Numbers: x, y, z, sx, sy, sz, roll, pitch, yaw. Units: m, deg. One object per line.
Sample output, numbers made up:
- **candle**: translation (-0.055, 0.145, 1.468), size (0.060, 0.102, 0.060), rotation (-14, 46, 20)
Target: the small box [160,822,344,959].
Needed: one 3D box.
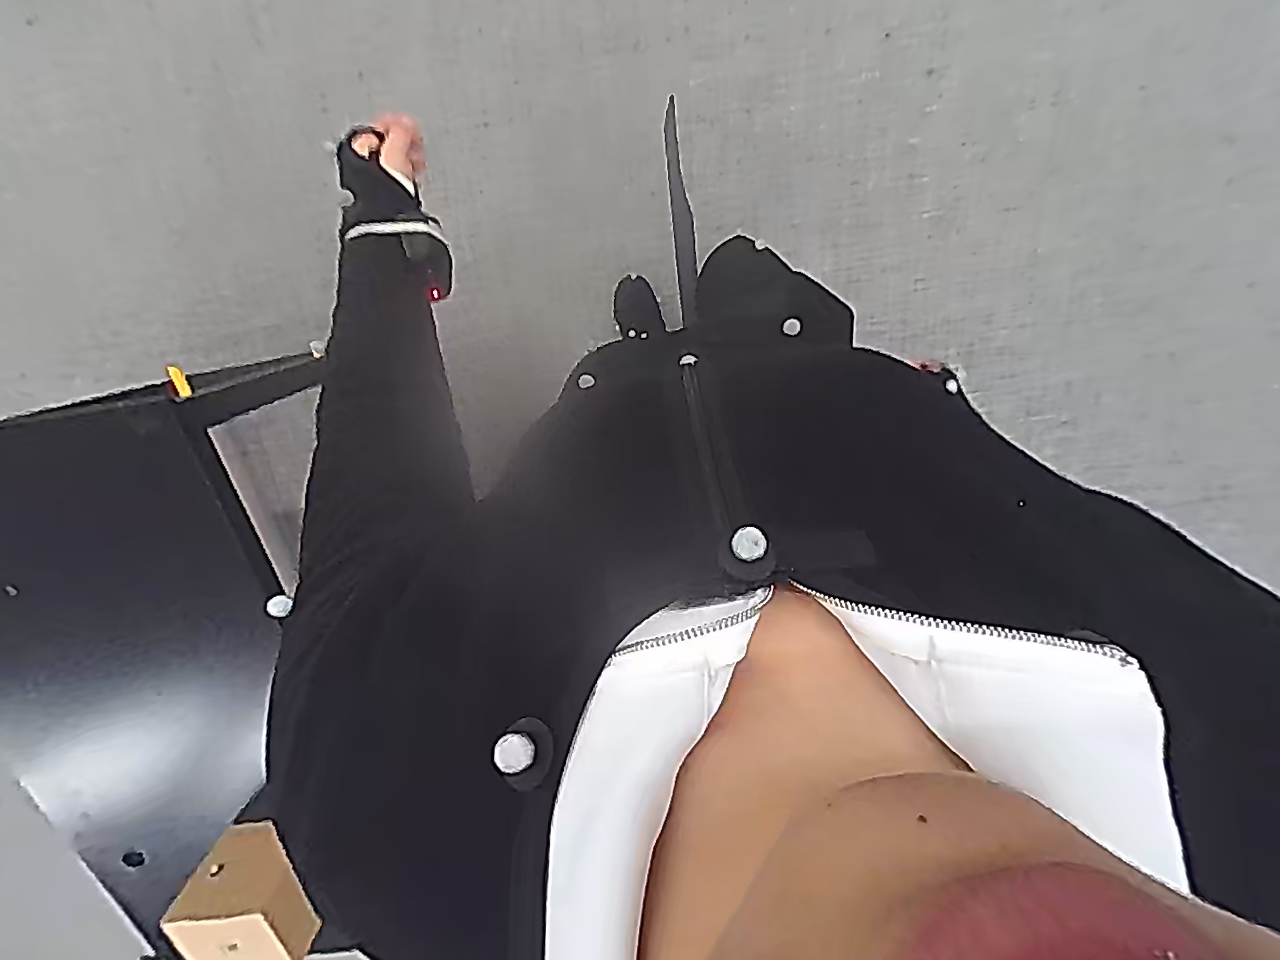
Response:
- **small box**: translation (-0.677, 0.751, 0.968), size (0.179, 0.176, 0.168), rotation (-9, 112, 3)
